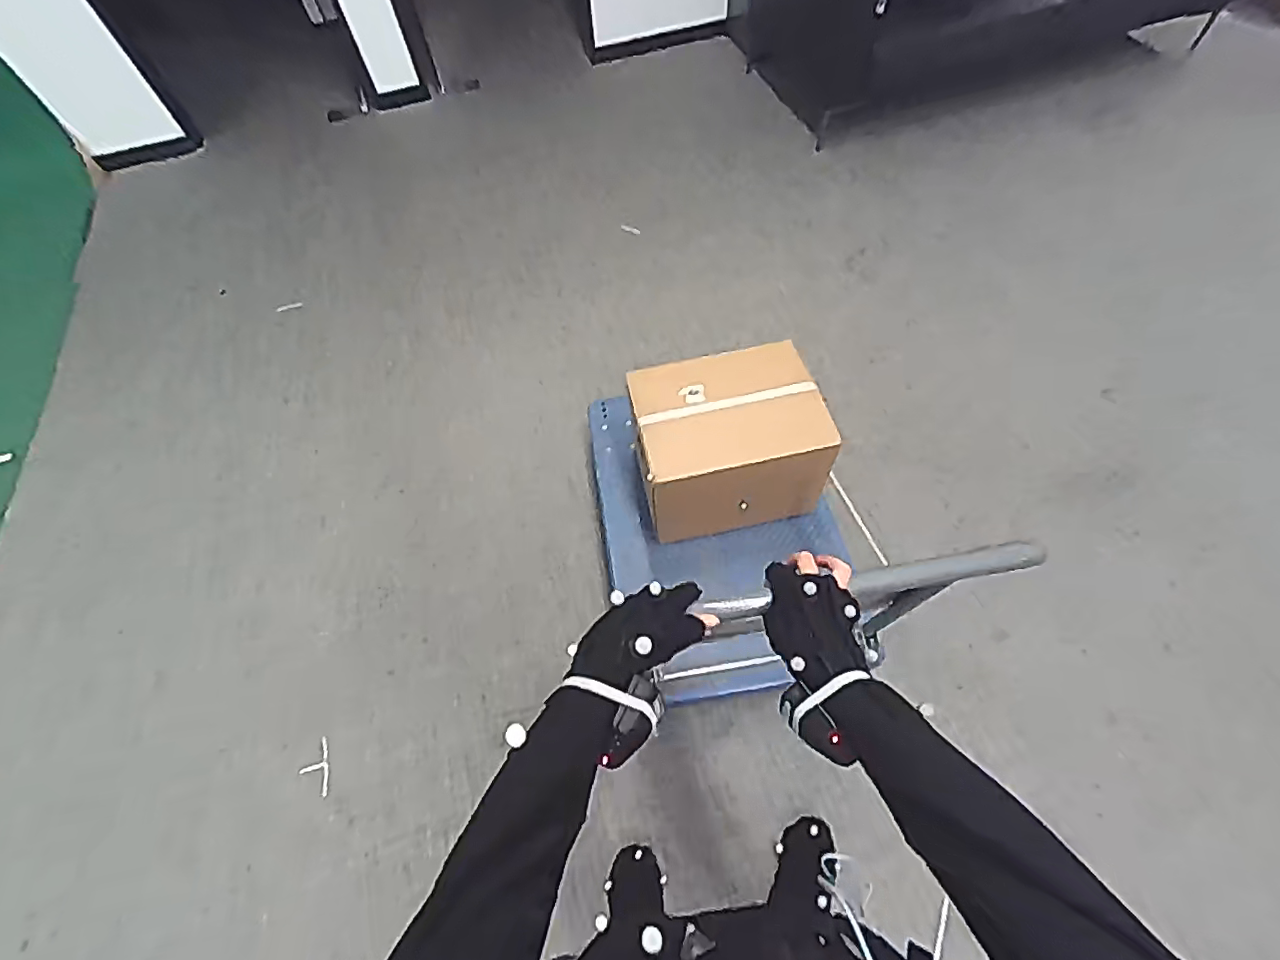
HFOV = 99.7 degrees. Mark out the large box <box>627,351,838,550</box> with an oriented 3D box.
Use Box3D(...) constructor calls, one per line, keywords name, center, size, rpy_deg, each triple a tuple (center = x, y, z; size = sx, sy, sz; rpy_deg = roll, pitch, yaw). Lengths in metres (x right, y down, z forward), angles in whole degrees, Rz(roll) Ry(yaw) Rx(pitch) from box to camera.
Box3D(name="large box", center=(0.206, -0.063, 1.327), size=(0.408, 0.320, 0.320), rpy_deg=(-12, 58, -3))
